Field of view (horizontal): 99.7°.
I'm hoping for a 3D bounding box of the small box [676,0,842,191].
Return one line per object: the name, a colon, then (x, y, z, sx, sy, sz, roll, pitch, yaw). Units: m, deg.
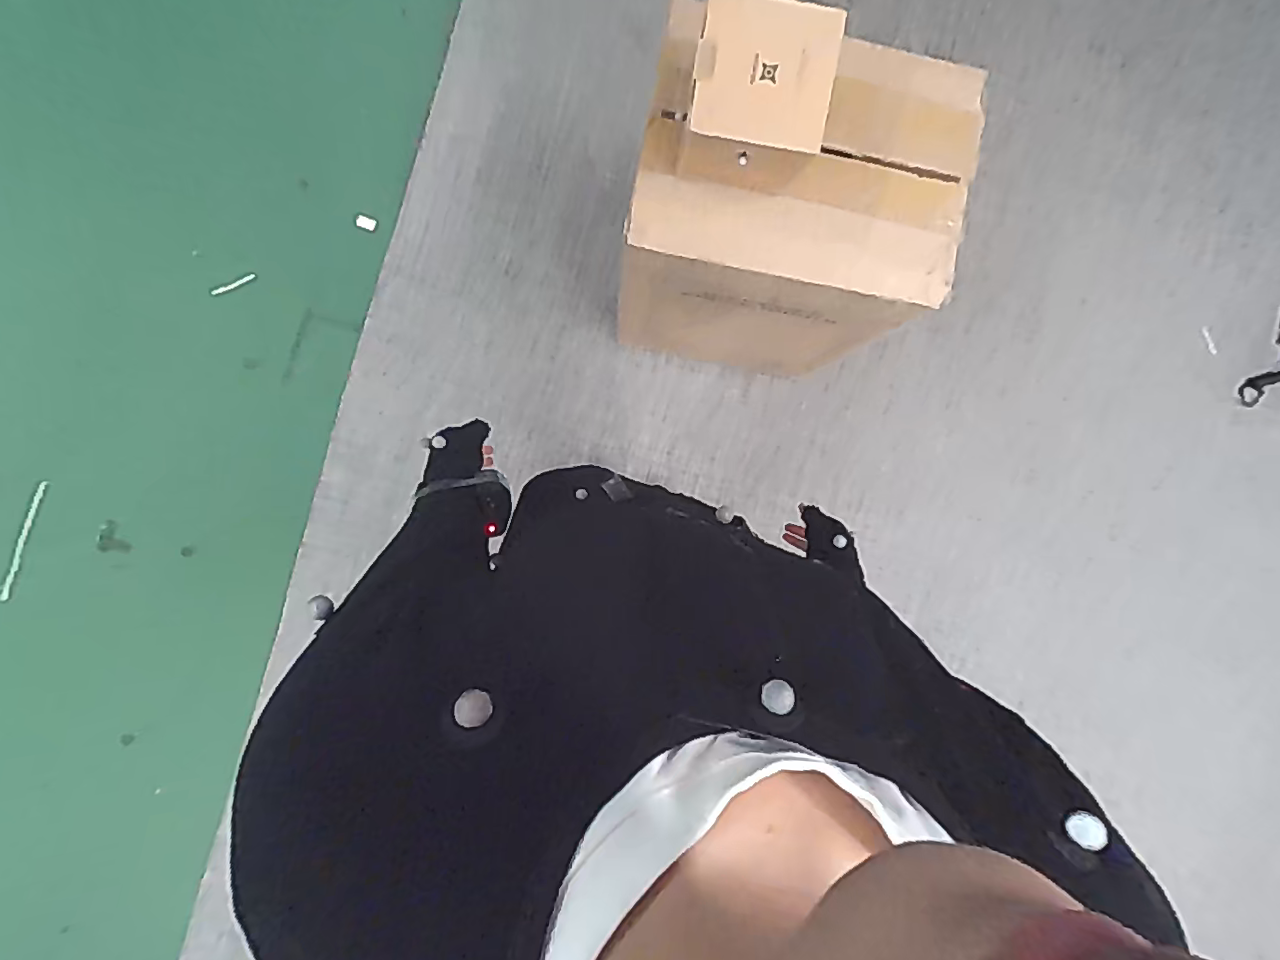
small box: (0.152, -0.528, 0.759, 0.179, 0.176, 0.168, 8, 101, -4)
